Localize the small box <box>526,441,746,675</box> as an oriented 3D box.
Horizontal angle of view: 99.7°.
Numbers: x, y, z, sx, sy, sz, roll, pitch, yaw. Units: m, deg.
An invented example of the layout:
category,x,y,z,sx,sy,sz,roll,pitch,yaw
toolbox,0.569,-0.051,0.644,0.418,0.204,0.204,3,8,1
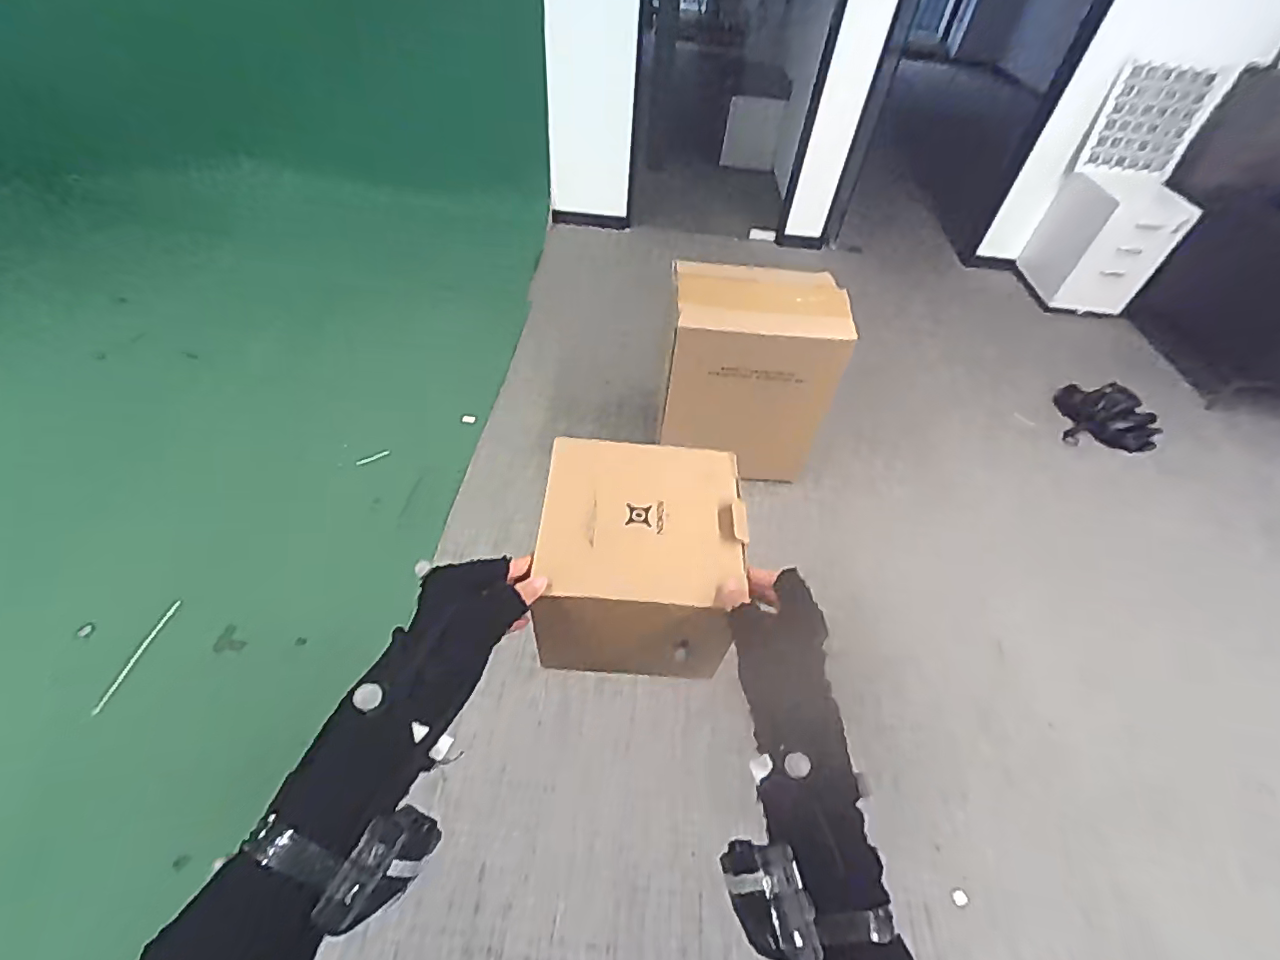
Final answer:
category,x,y,z,sx,sy,sz,roll,pitch,yaw
small box,-0.005,0.082,0.534,0.179,0.176,0.168,3,51,-1
